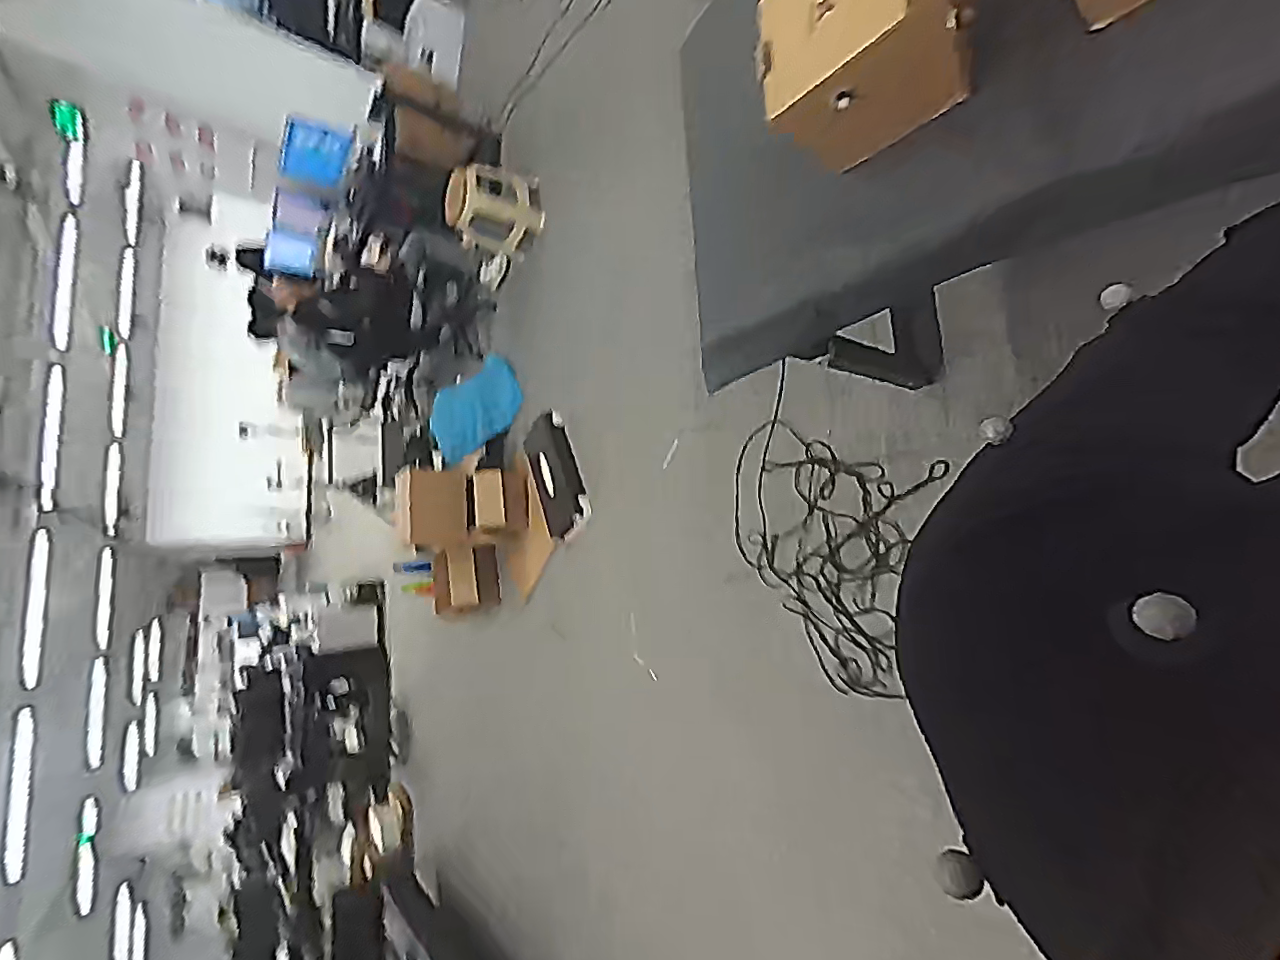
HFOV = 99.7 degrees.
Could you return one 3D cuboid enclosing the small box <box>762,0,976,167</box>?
[{"bbox_3d":[0.270,-0.519,0.649,0.179,0.176,0.168,-8,82,52],"label":"small box"}]
